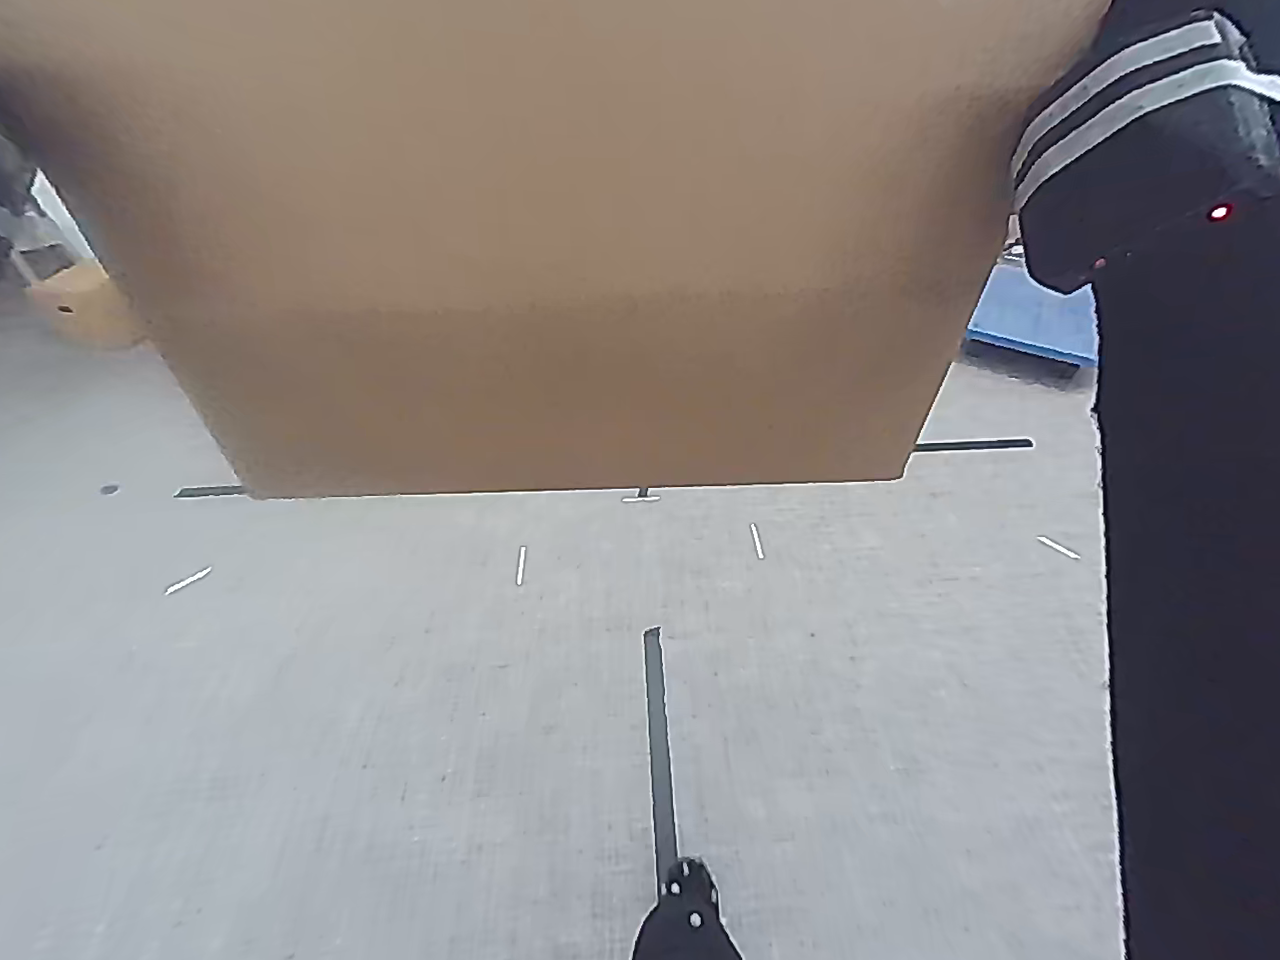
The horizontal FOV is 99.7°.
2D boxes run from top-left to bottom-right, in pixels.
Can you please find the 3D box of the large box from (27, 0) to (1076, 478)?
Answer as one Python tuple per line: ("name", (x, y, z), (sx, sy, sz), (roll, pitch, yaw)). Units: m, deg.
("large box", (-0.037, -0.215, 0.365), (0.408, 0.320, 0.320), (-1, 42, -4))
